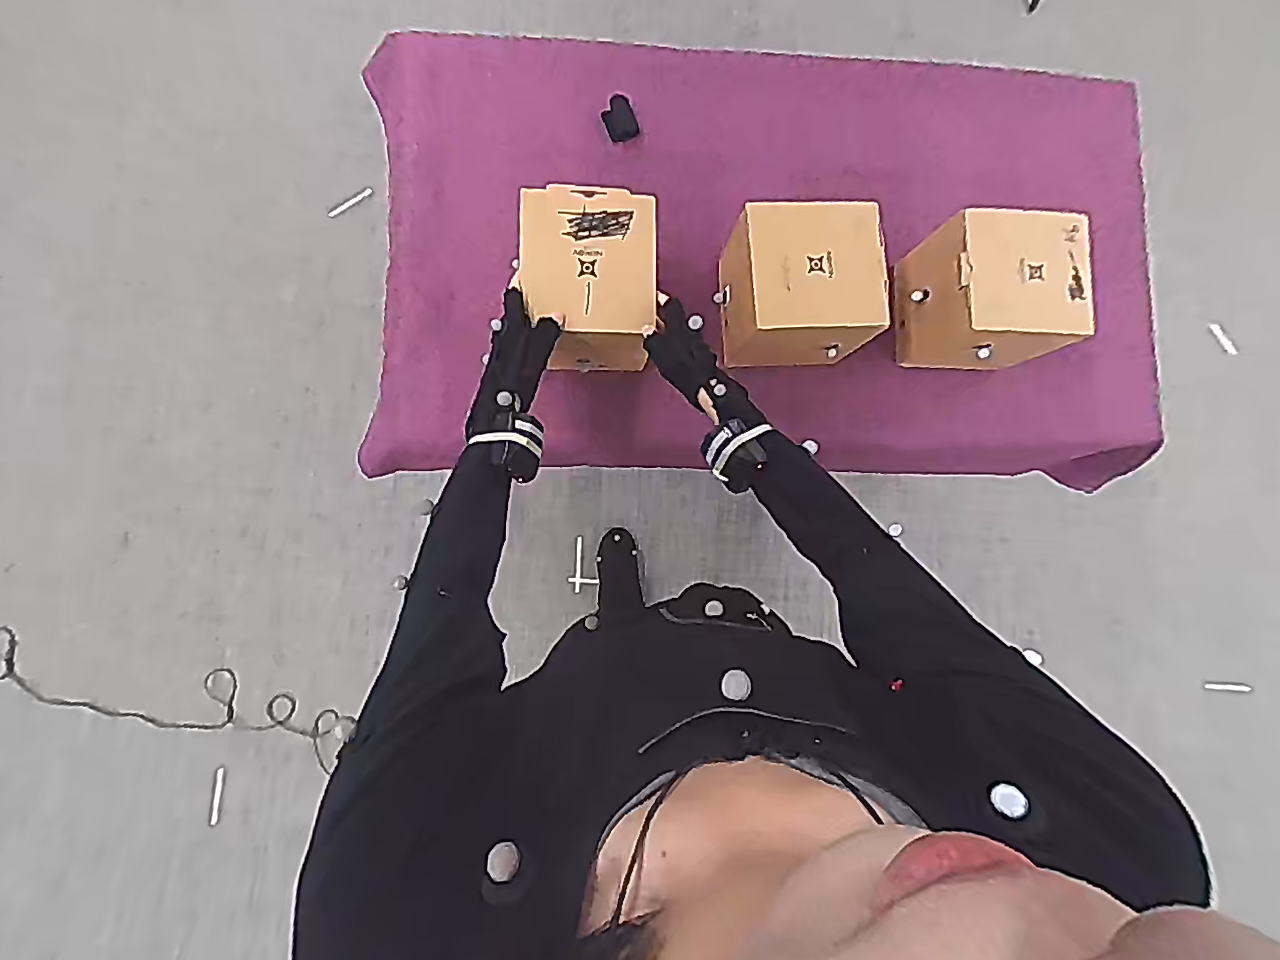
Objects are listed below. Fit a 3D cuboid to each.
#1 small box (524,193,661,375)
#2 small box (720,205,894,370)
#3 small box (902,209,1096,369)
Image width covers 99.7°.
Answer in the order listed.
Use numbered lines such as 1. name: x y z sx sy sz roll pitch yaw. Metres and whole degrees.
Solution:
1. small box: -0.064 -0.253 0.730 0.168 0.176 0.179 0 86 -5
2. small box: 0.222 -0.259 0.758 0.179 0.176 0.168 -4 84 -4
3. small box: 0.500 -0.263 0.781 0.179 0.176 0.168 1 85 -4
